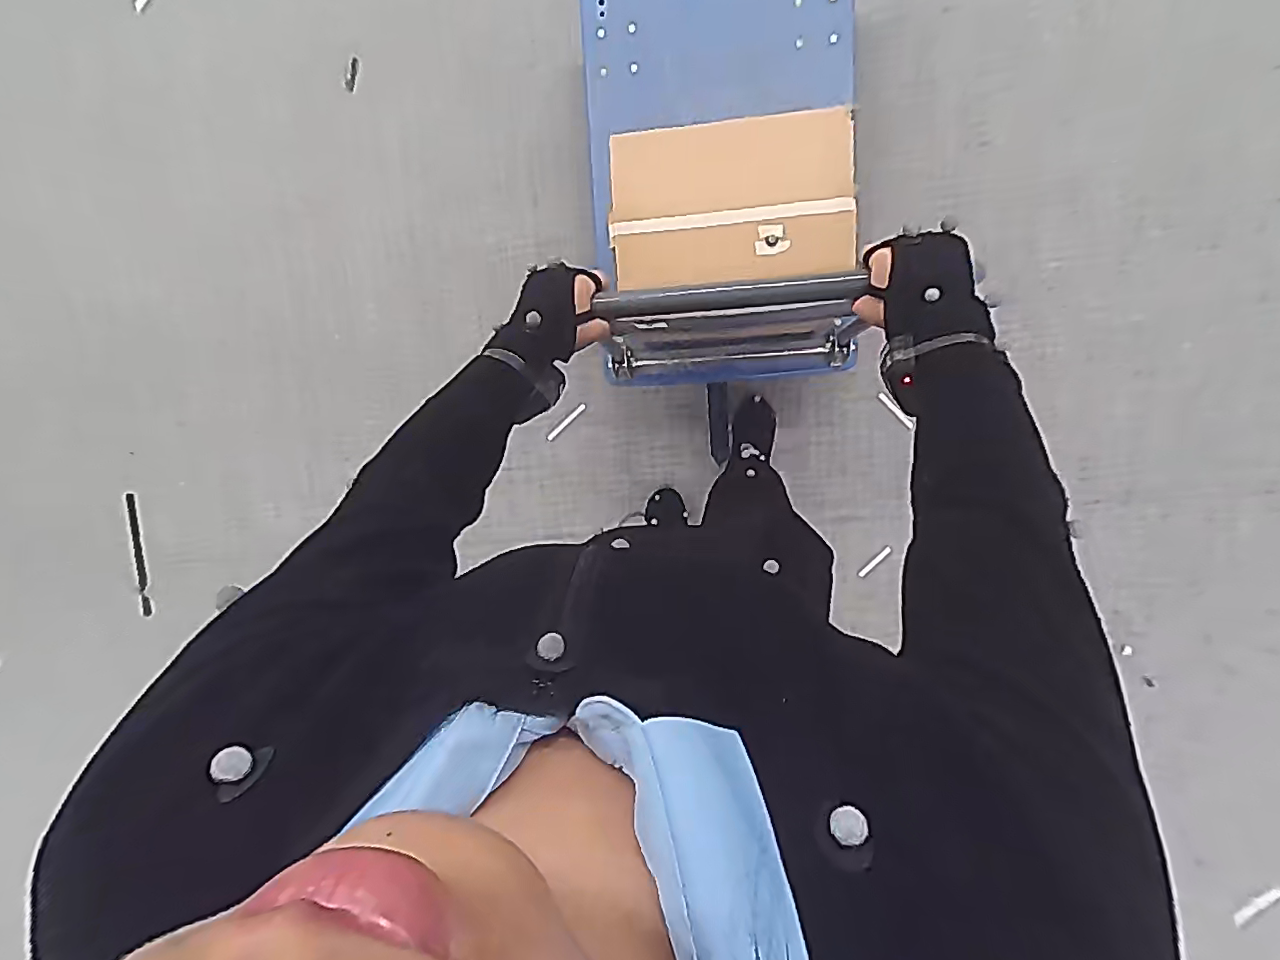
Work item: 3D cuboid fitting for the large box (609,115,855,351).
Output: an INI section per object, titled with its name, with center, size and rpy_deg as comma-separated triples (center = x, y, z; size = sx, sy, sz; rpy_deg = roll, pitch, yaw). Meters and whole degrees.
[large box]
center = 0.167, -0.443, 1.058
size = 0.408, 0.320, 0.320
rpy_deg = -3, 96, 6
